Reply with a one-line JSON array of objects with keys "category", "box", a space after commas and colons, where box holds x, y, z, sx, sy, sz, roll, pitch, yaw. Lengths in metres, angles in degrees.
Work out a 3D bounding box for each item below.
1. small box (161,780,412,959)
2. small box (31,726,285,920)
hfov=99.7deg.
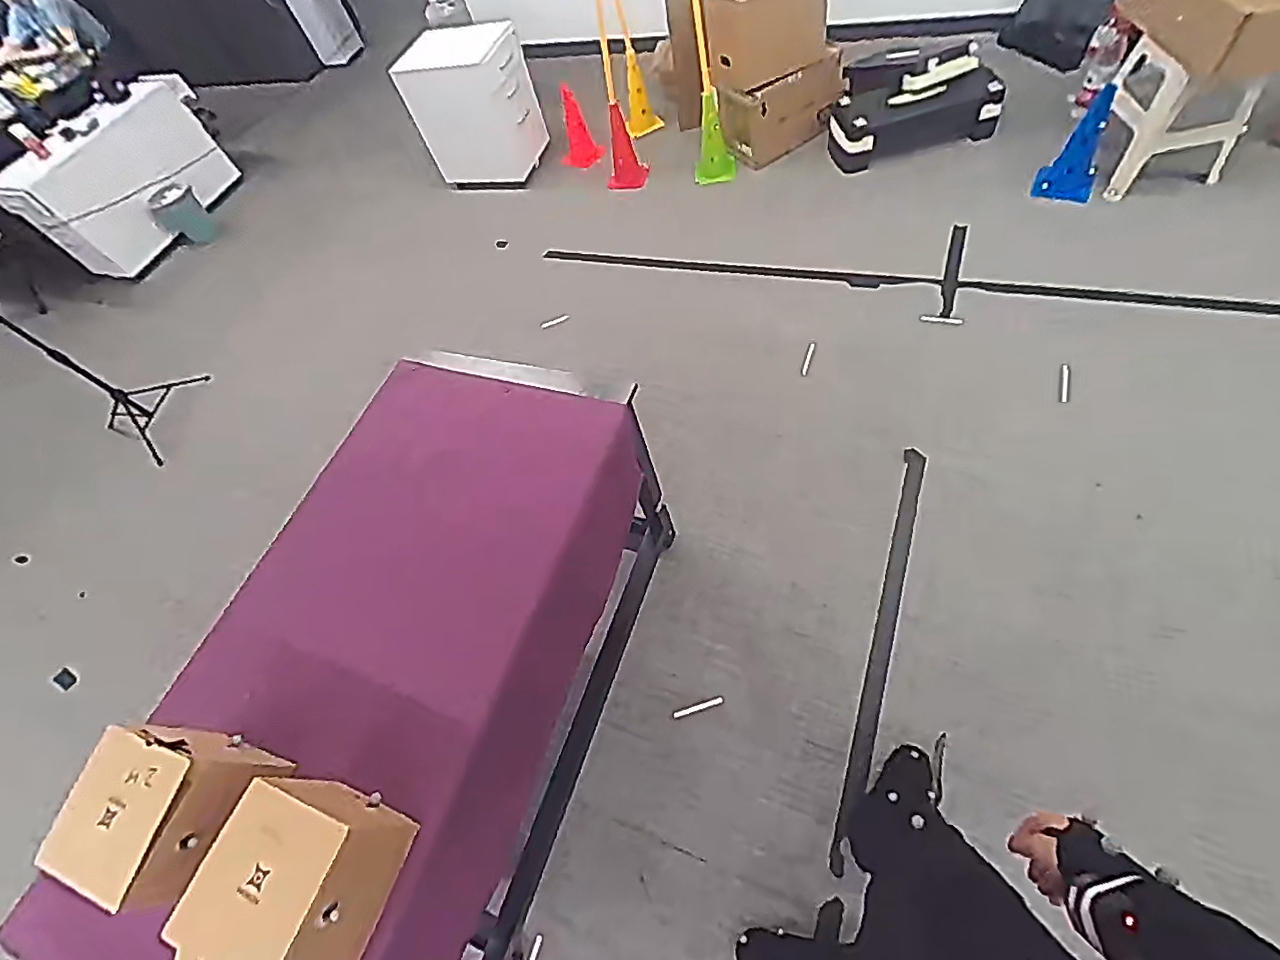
[{"category": "small box", "box": [-0.433, 0.512, 0.696, 0.168, 0.176, 0.179, 12, 63, 18]}, {"category": "small box", "box": [-0.661, 0.473, 0.767, 0.168, 0.176, 0.179, 11, 63, 17]}]
